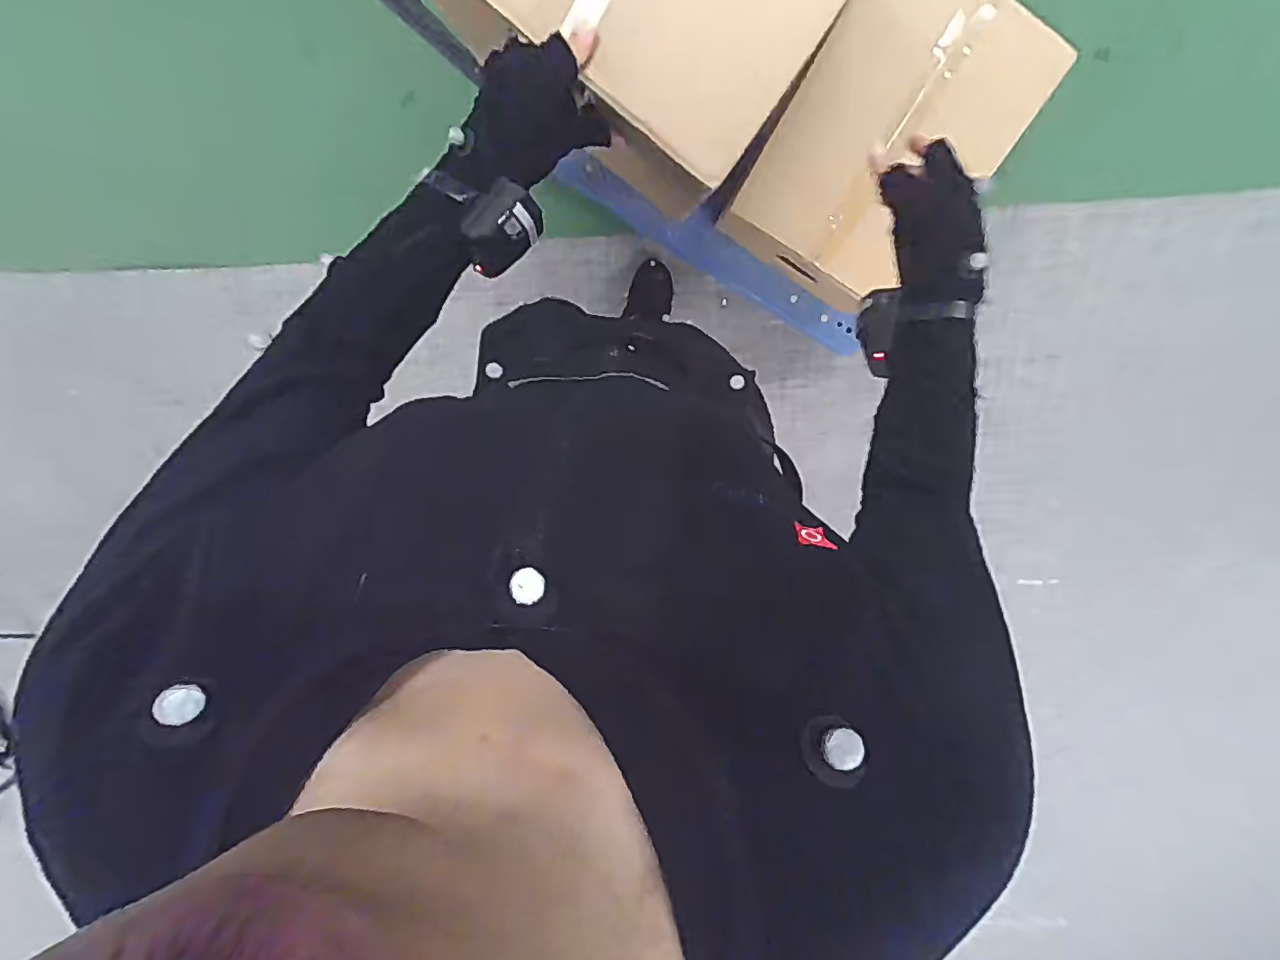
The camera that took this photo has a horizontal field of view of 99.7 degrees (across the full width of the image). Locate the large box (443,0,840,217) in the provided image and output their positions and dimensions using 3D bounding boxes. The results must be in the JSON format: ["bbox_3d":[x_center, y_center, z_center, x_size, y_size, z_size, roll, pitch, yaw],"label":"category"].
[{"bbox_3d":[0.047,-0.536,0.511,0.320,0.320,0.408,34,106,-13],"label":"large box"}]
